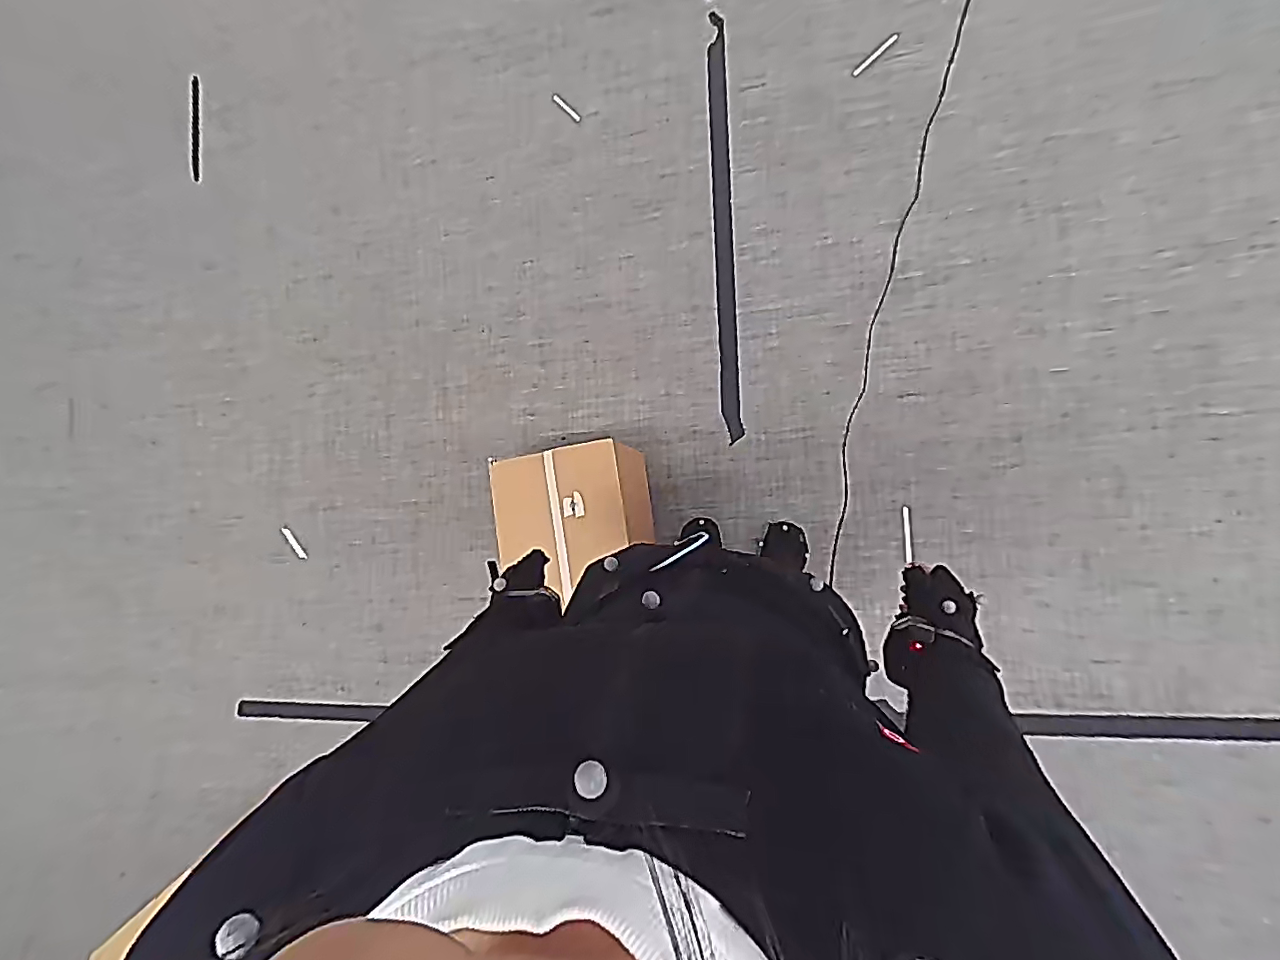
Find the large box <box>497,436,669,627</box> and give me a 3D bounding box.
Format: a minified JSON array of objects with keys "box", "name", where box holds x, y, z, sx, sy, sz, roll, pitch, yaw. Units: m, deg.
[{"box":[-0.131,0.132,1.380,0.320,0.320,0.408,-10,83,12],"name":"large box"}]
